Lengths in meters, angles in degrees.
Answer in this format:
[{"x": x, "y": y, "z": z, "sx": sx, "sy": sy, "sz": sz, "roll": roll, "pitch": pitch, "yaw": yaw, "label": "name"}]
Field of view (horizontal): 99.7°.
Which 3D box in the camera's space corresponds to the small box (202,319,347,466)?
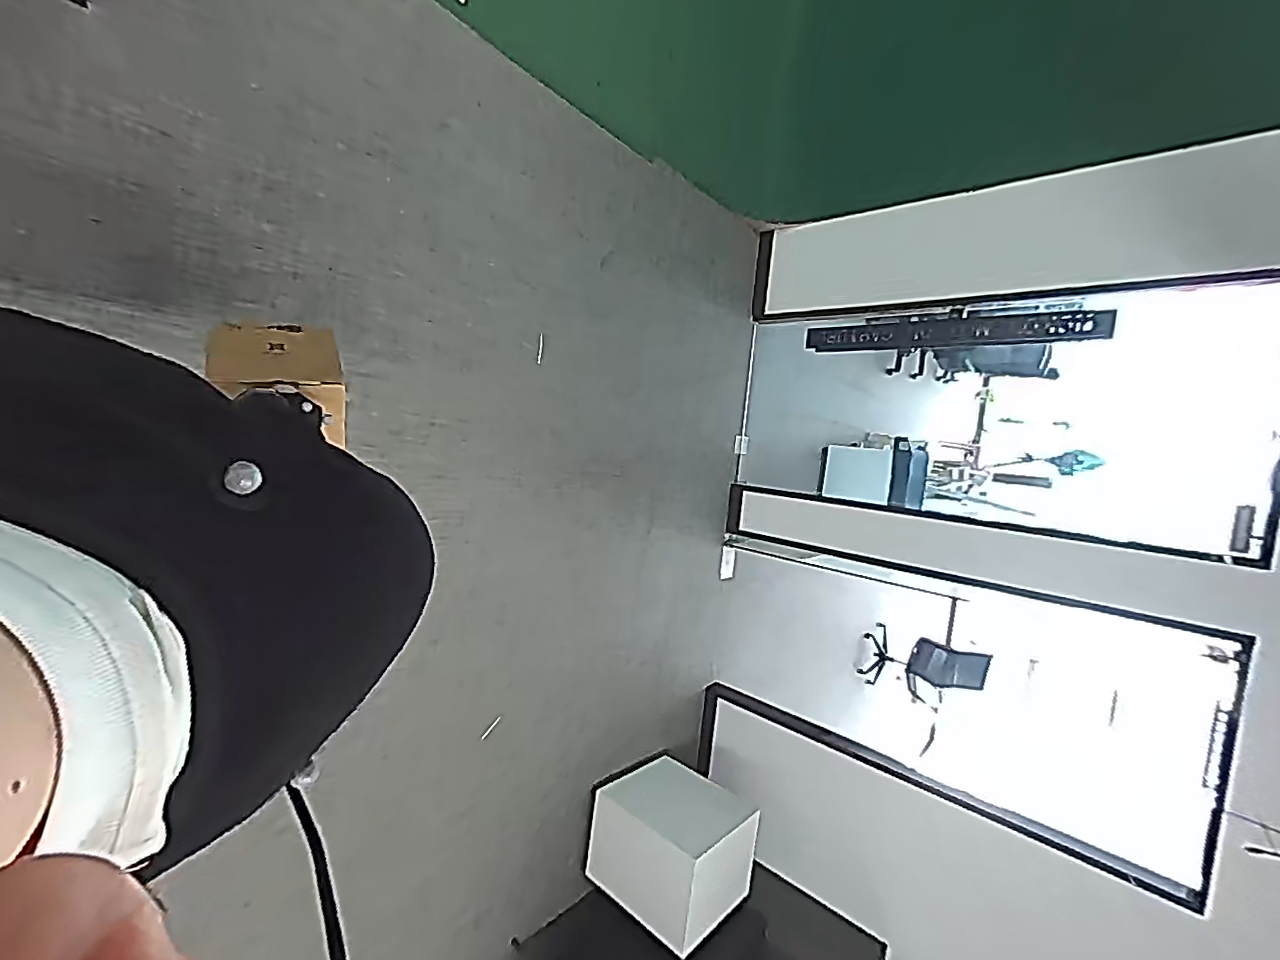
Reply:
[{"x": -0.570, "y": -0.135, "z": 0.854, "sx": 0.168, "sy": 0.179, "sz": 0.176, "roll": -9, "pitch": 138, "yaw": -32, "label": "small box"}]
